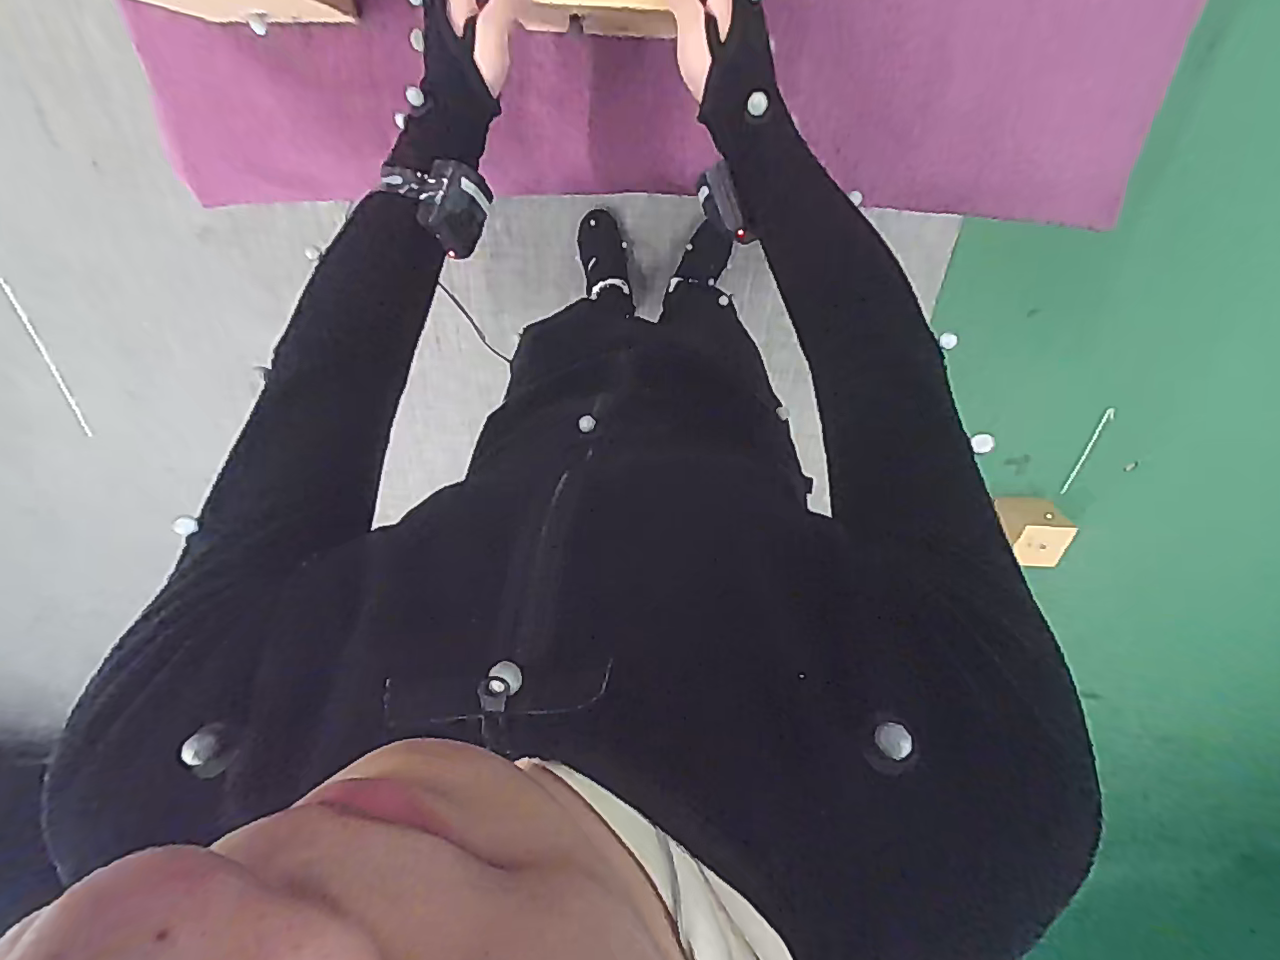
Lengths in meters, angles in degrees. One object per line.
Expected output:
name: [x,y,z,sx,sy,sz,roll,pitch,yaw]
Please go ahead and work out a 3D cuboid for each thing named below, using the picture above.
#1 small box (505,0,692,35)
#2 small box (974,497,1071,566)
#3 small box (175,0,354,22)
small box: [-0.032,-0.516,0.475,0.168,0.176,0.179,1,122,-2]
small box: [1.285,0.171,1.829,0.179,0.176,0.168,4,121,-4]
small box: [-0.392,-0.544,0.487,0.168,0.176,0.179,-1,122,-1]
